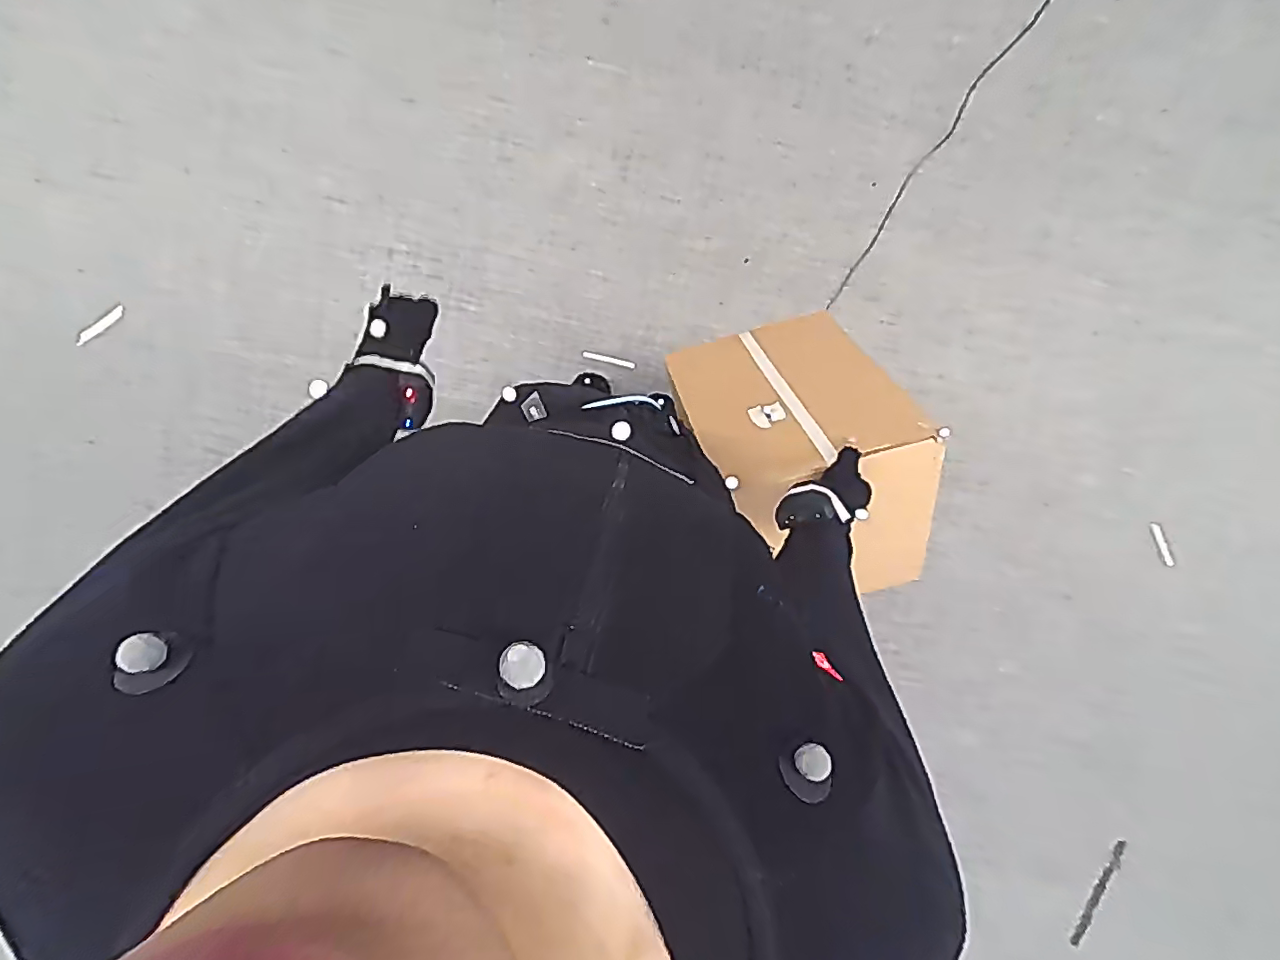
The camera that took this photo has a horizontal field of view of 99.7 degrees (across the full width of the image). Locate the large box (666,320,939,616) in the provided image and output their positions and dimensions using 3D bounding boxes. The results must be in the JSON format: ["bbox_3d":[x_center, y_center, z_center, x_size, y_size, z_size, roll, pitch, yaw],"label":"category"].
[{"bbox_3d":[0.257,-0.032,0.979,0.320,0.408,0.320,-15,132,2],"label":"large box"}]
